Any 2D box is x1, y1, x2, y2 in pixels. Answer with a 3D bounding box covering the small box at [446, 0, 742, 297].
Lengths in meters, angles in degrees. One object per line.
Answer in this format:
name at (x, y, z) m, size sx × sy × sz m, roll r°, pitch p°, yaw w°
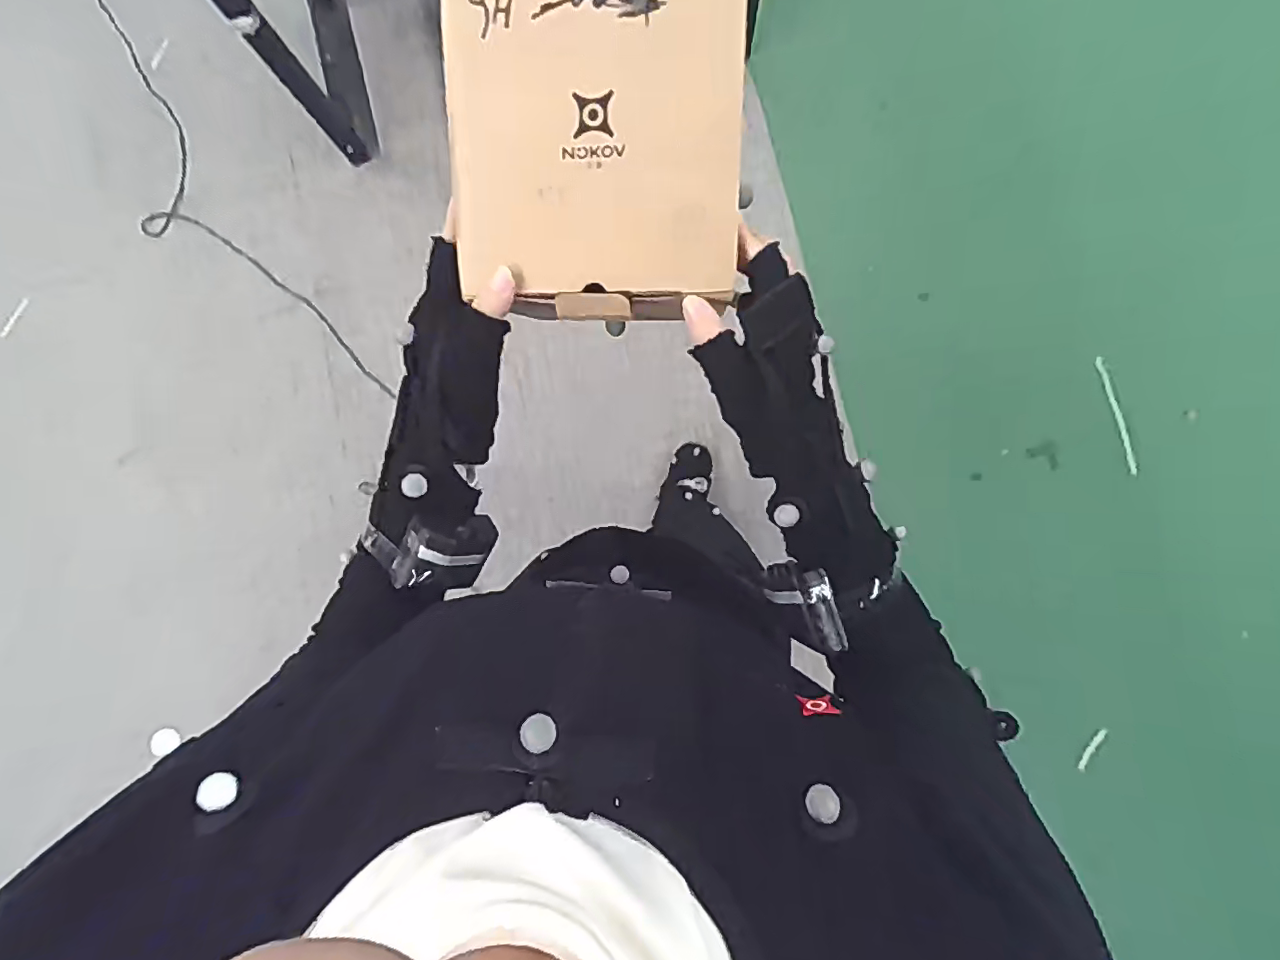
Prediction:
small box at (-0.016, -0.225, 0.382) m, size 0.168 × 0.176 × 0.179 m, roll 1°, pitch 104°, yaw 7°
